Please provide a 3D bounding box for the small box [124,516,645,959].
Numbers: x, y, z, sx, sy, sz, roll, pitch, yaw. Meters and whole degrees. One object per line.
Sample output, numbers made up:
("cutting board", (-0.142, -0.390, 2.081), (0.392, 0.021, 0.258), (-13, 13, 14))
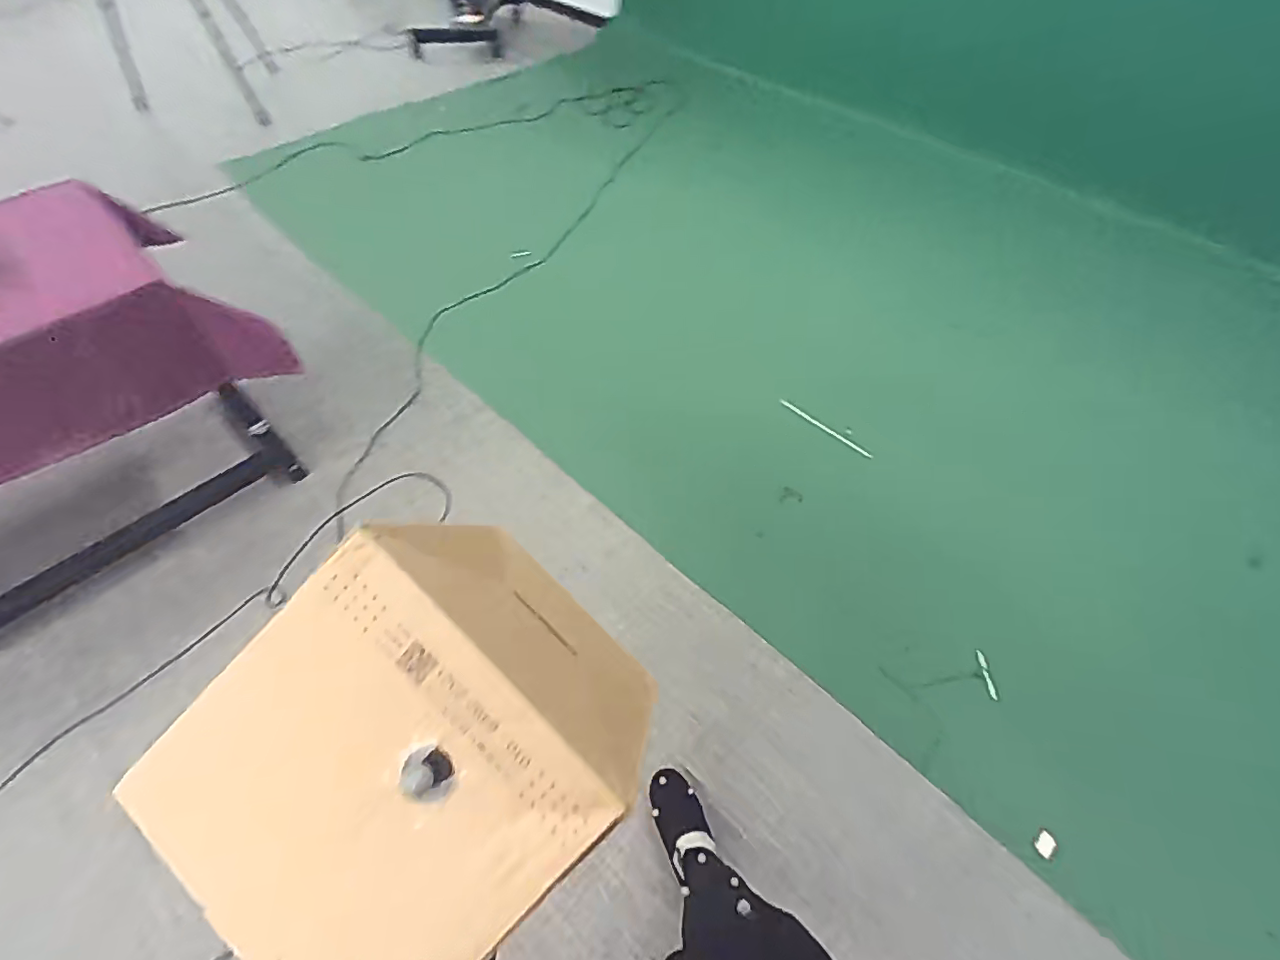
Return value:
("small box", (-0.111, 0.134, 0.316), (0.168, 0.179, 0.176), (42, 89, 7))
